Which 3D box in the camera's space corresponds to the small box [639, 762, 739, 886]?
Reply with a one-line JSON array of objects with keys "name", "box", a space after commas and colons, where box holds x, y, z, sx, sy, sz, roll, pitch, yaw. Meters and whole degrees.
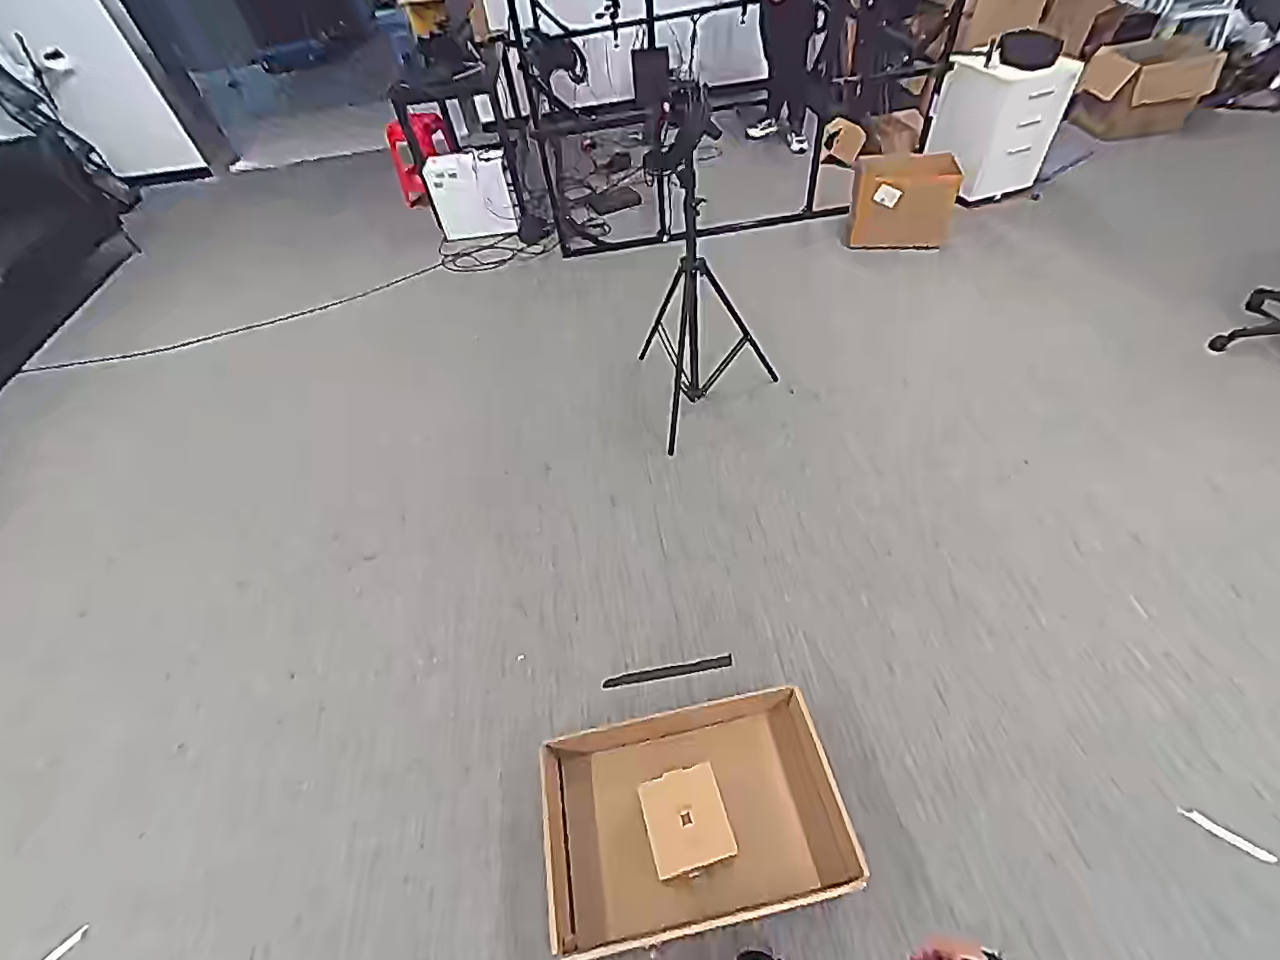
[{"name": "small box", "box": [0.102, 0.744, 1.165, 0.168, 0.176, 0.179, -16, 50, -6]}]
